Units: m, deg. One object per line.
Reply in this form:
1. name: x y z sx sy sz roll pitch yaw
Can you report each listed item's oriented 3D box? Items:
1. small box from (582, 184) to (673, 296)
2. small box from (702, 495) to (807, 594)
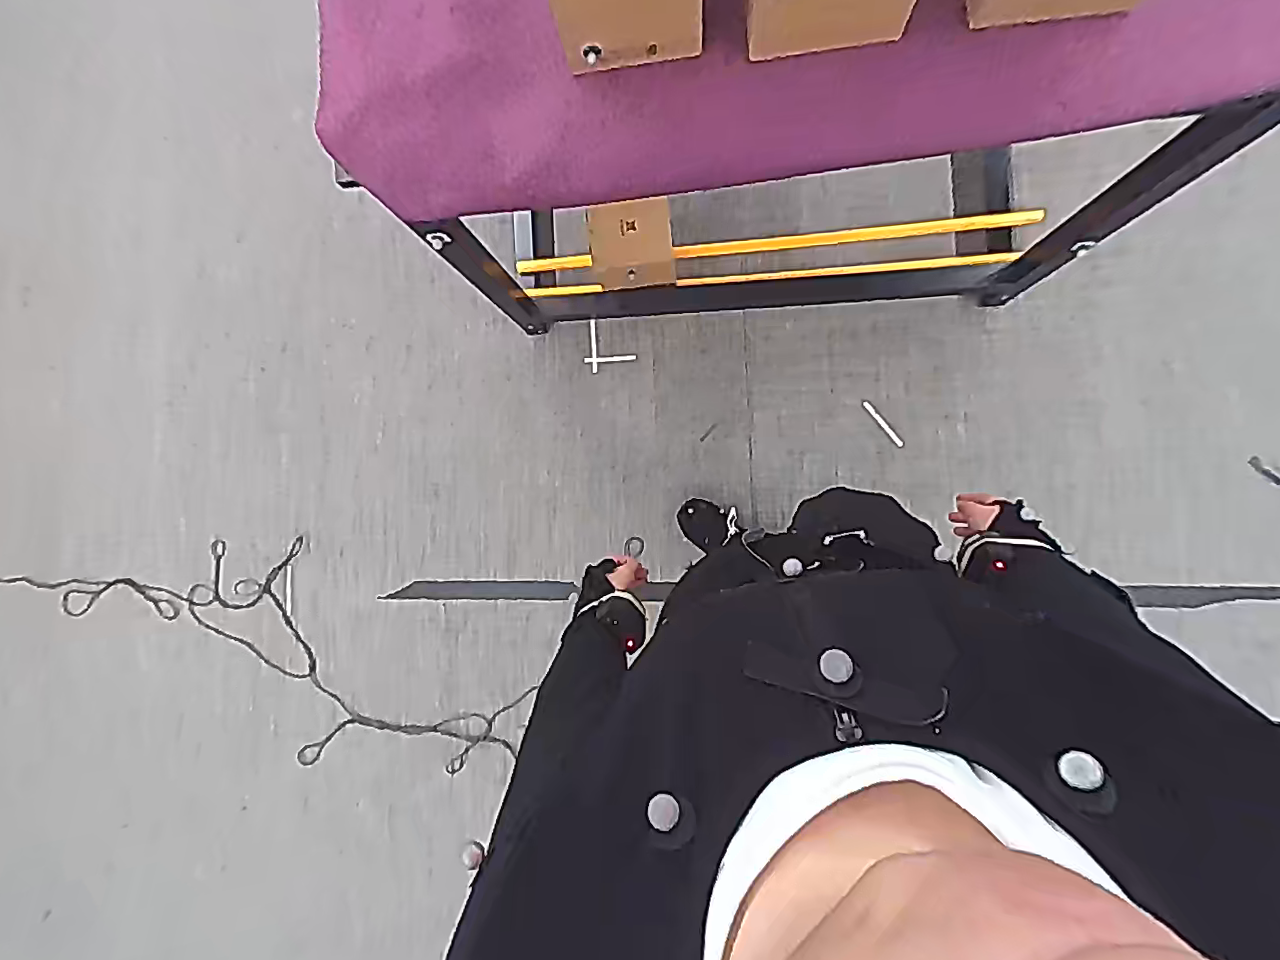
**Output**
1. small box: -0.020 -0.528 1.209 0.179 0.176 0.168 -7 90 7
2. small box: 0.258 0.146 1.253 0.179 0.176 0.168 -44 83 5
